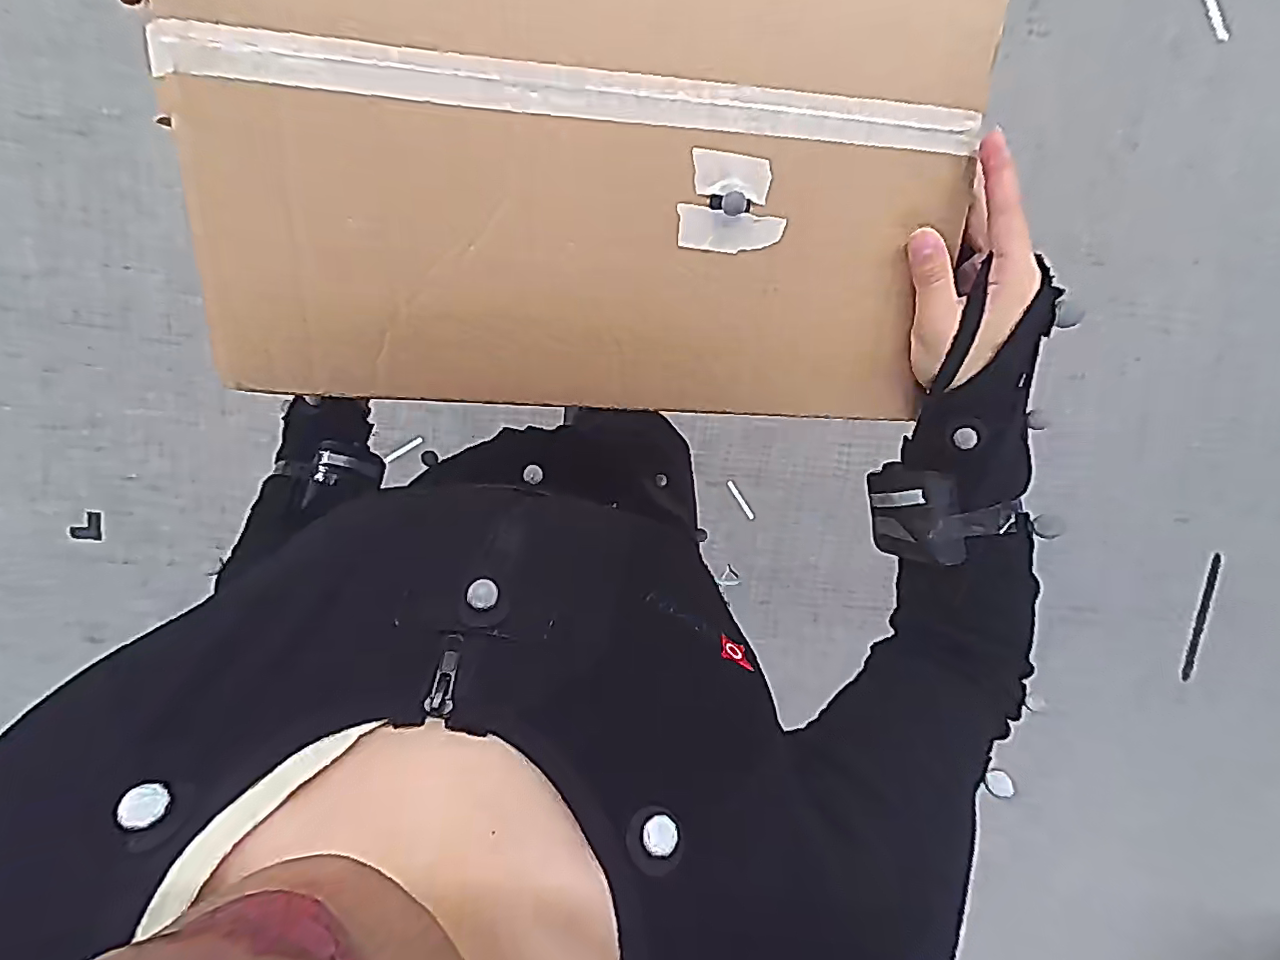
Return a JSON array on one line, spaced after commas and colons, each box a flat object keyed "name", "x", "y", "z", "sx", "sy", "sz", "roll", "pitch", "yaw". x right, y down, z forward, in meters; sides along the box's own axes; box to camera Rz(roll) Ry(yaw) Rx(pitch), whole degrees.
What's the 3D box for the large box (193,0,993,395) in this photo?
[{"name": "large box", "x": -0.033, "y": -0.244, "z": 0.422, "sx": 0.408, "sy": 0.320, "sz": 0.320, "roll": 1, "pitch": 108, "yaw": -8}]
